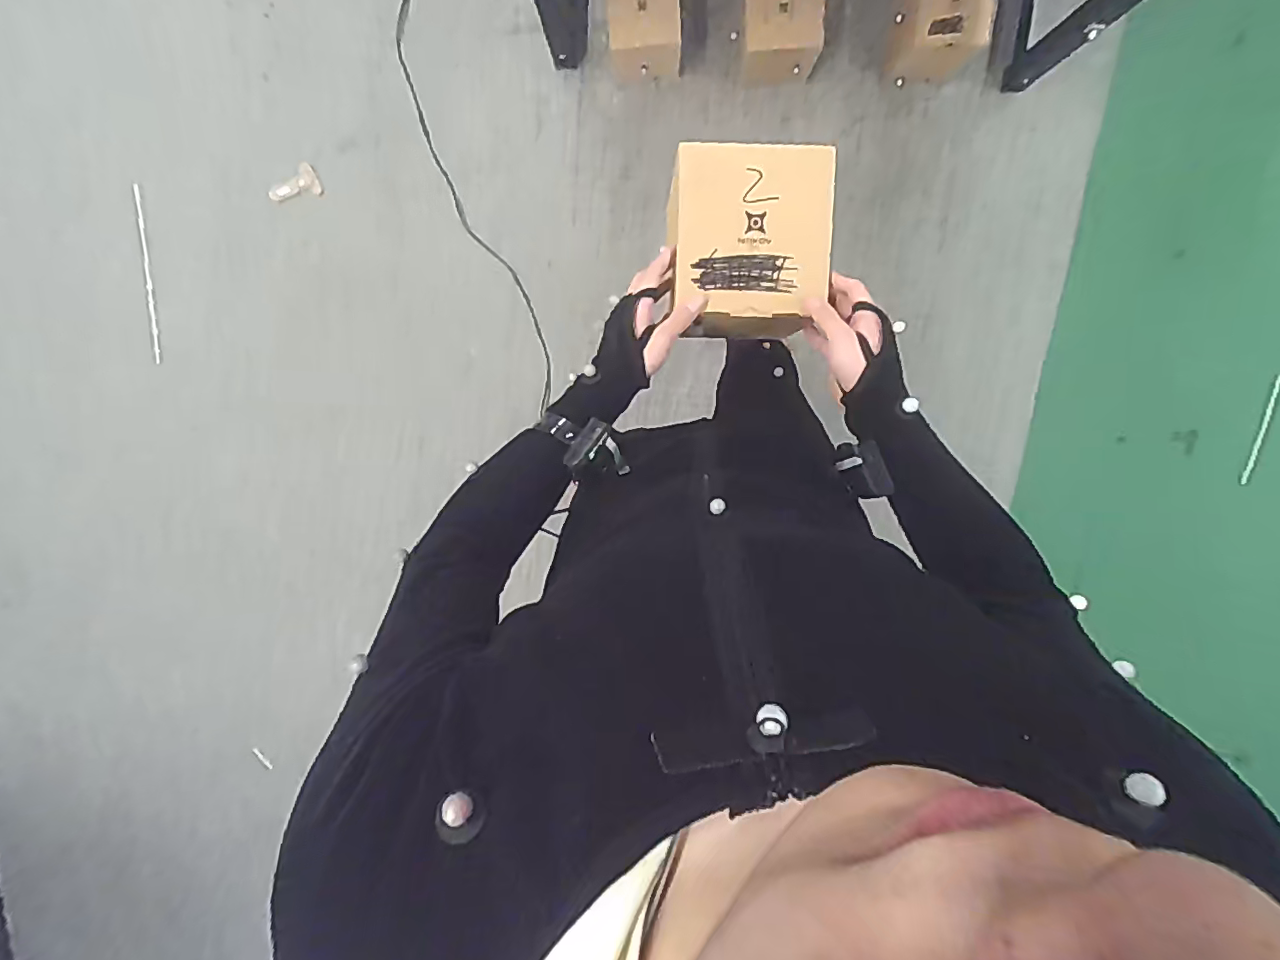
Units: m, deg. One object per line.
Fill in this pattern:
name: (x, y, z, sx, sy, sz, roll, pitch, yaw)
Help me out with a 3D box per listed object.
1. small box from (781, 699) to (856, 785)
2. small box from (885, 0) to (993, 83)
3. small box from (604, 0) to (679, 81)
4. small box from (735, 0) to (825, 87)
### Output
small box: (0.539, 0.795, 1.655, 0.168, 0.176, 0.179, 4, 103, 0)
small box: (0.691, -1.061, 1.261, 0.168, 0.176, 0.179, 1, 101, 0)
small box: (0.005, -1.074, 1.272, 0.168, 0.176, 0.179, -4, 102, 2)
small box: (0.323, -1.059, 1.270, 0.179, 0.176, 0.168, -2, 101, 2)
